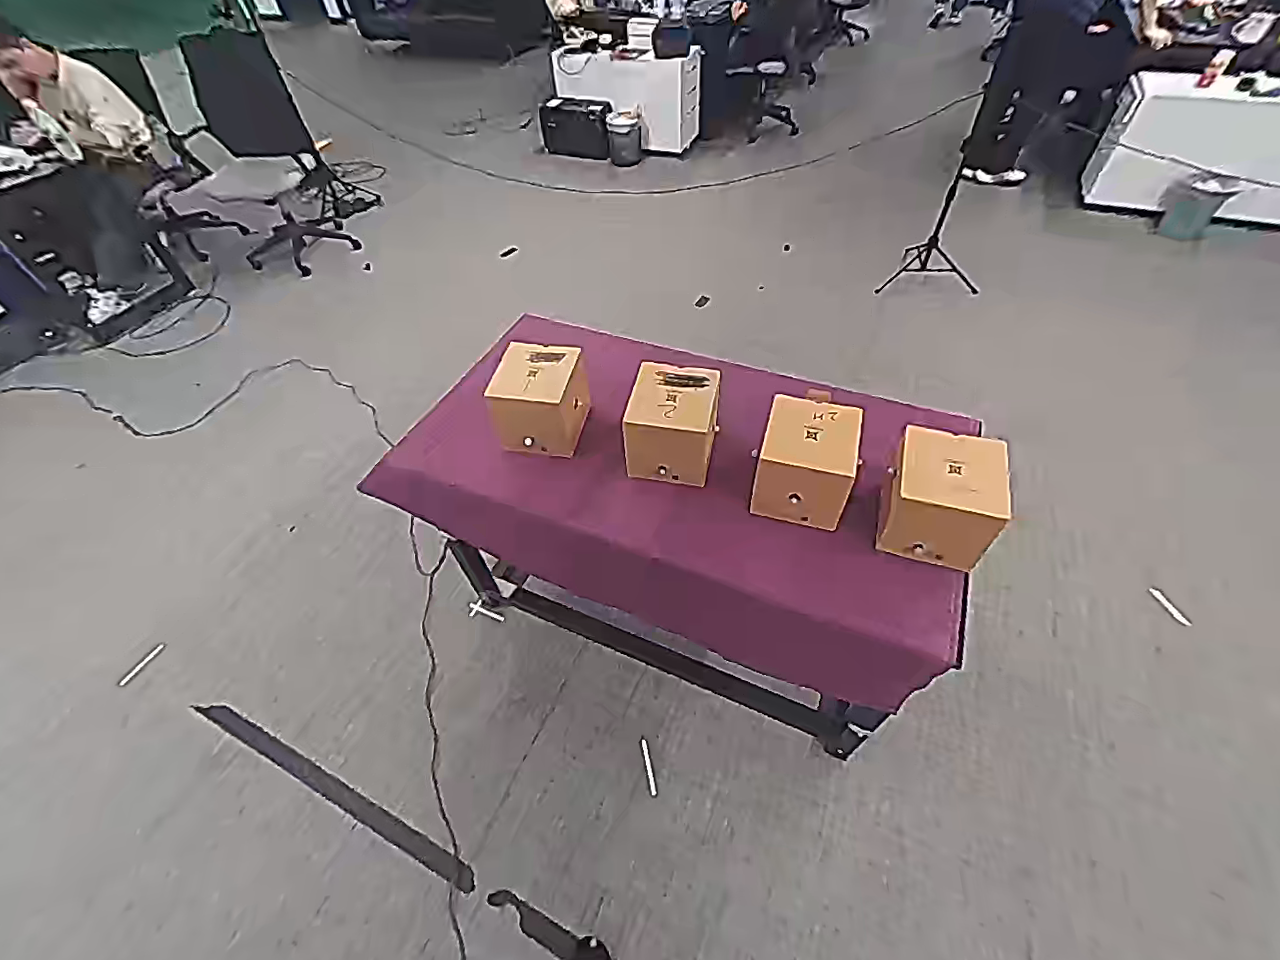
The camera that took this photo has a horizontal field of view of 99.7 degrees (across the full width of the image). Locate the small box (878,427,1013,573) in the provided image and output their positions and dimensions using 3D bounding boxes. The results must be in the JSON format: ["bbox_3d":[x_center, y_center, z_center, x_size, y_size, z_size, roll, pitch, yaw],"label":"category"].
[{"bbox_3d":[0.540,0.037,0.975,0.168,0.176,0.179,14,52,16],"label":"small box"}]

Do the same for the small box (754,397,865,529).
[{"bbox_3d":[0.321,-0.031,1.045,0.168,0.176,0.179,13,52,14],"label":"small box"}]

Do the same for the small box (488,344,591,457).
[{"bbox_3d":[-0.212,-0.176,1.197,0.168,0.176,0.179,7,52,9],"label":"small box"}]
